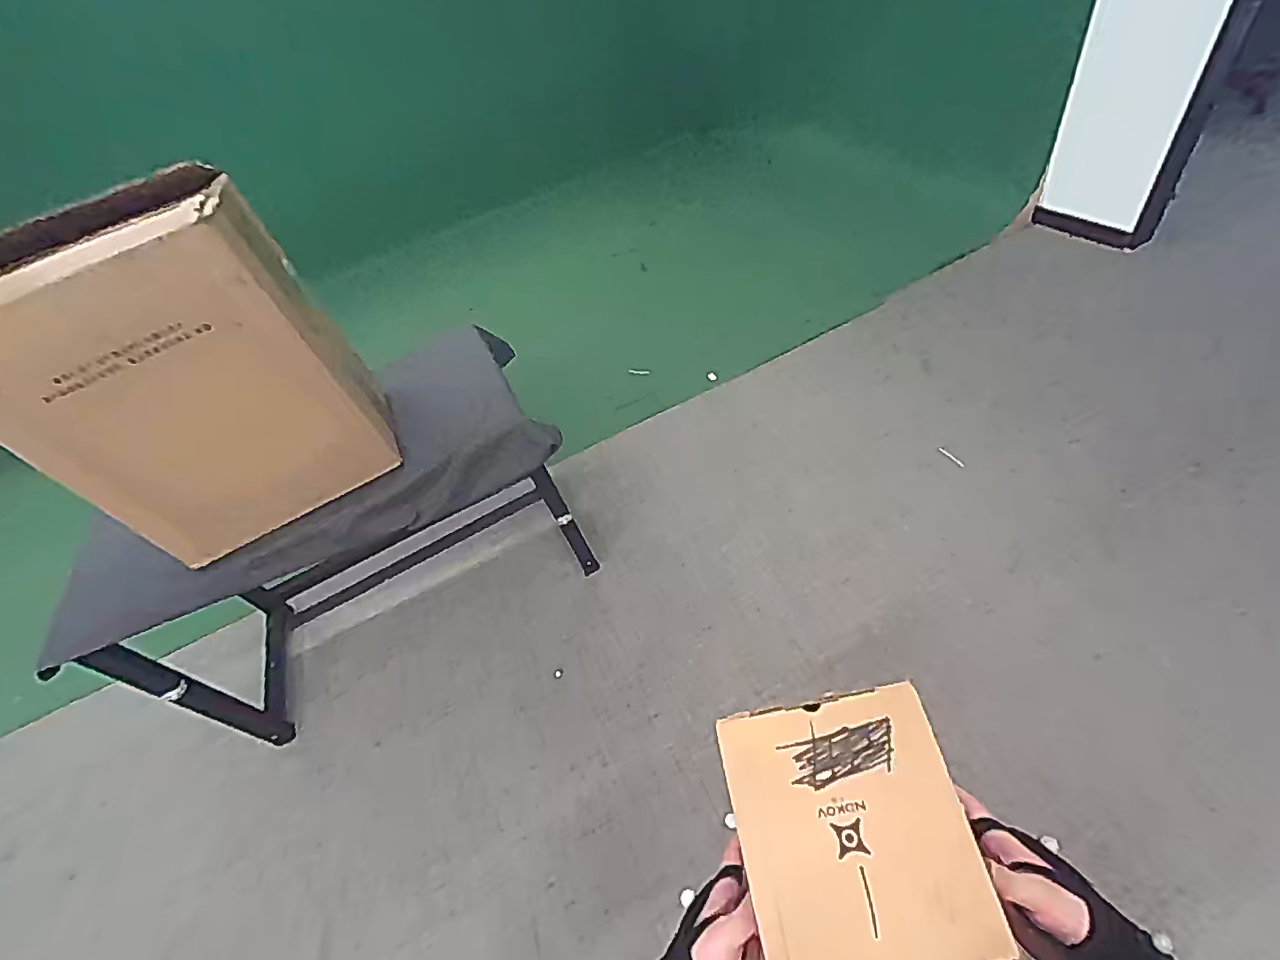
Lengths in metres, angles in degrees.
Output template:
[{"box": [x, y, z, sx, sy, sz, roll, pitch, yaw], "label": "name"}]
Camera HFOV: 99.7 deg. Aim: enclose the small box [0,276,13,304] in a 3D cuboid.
[{"box": [-1.186, -0.316, 0.862, 0.168, 0.176, 0.179, -30, 47, -8], "label": "small box"}]
